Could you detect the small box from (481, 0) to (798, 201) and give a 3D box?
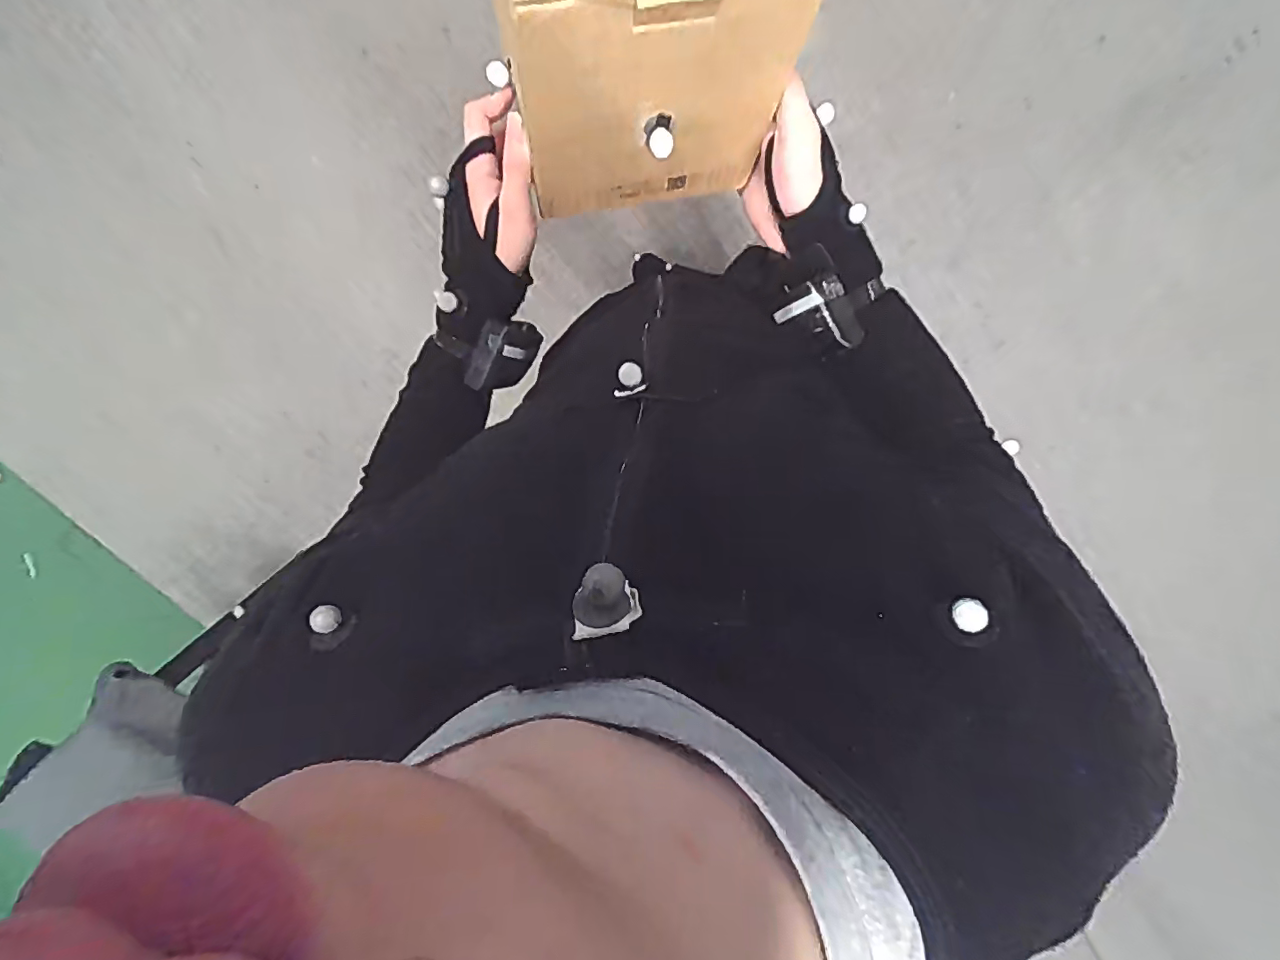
[{"bbox_3d":[-0.016,-0.304,0.342,0.168,0.176,0.179,-12,85,-7],"label":"small box"}]
